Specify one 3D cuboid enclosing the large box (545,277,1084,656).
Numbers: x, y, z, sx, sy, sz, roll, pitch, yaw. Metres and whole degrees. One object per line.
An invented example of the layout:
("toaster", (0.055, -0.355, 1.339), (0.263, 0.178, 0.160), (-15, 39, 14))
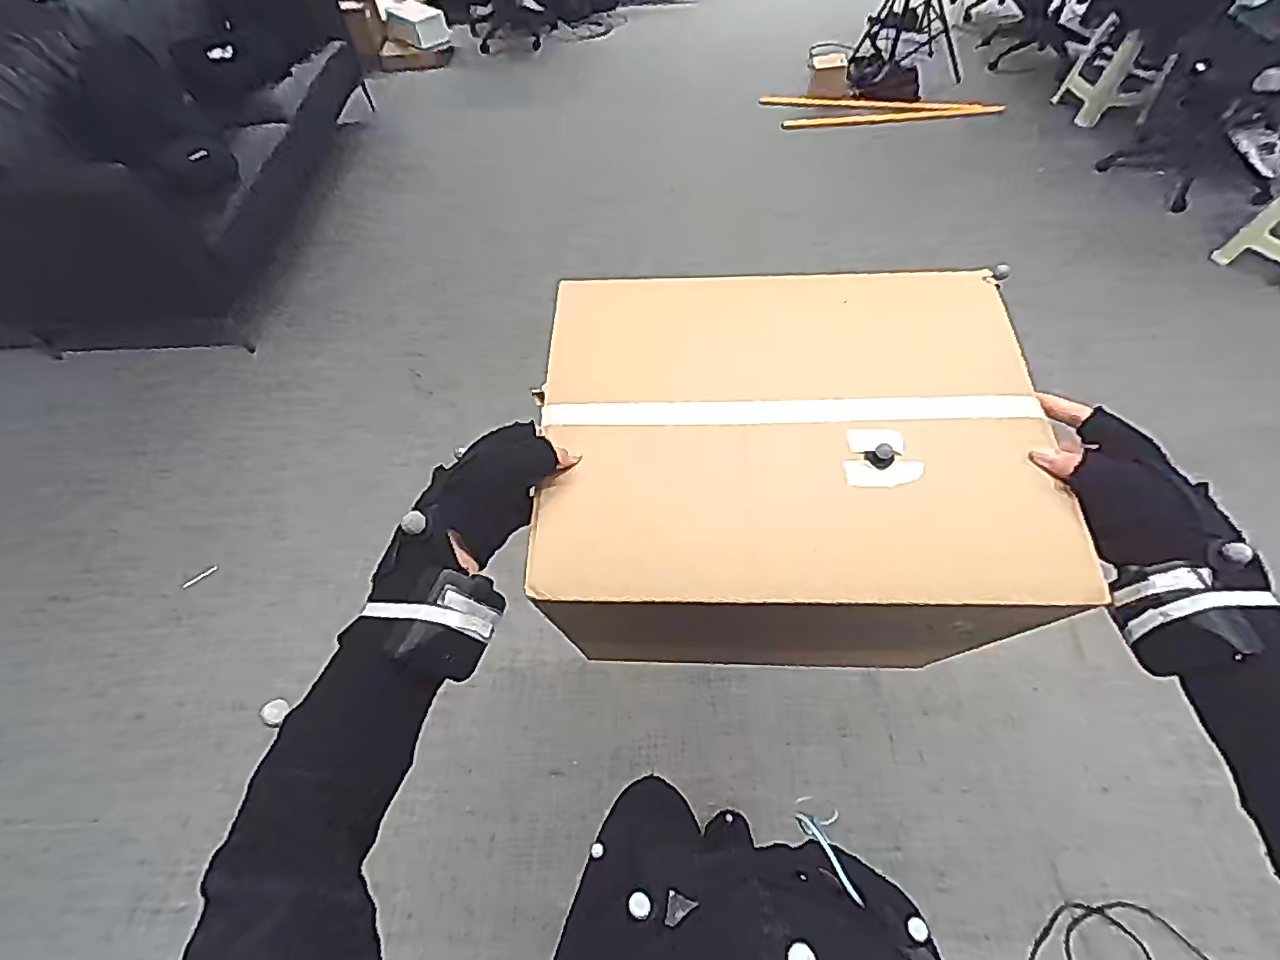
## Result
("large box", (0.130, 0.009, 0.596), (0.408, 0.320, 0.320), (0, 64, 2))
